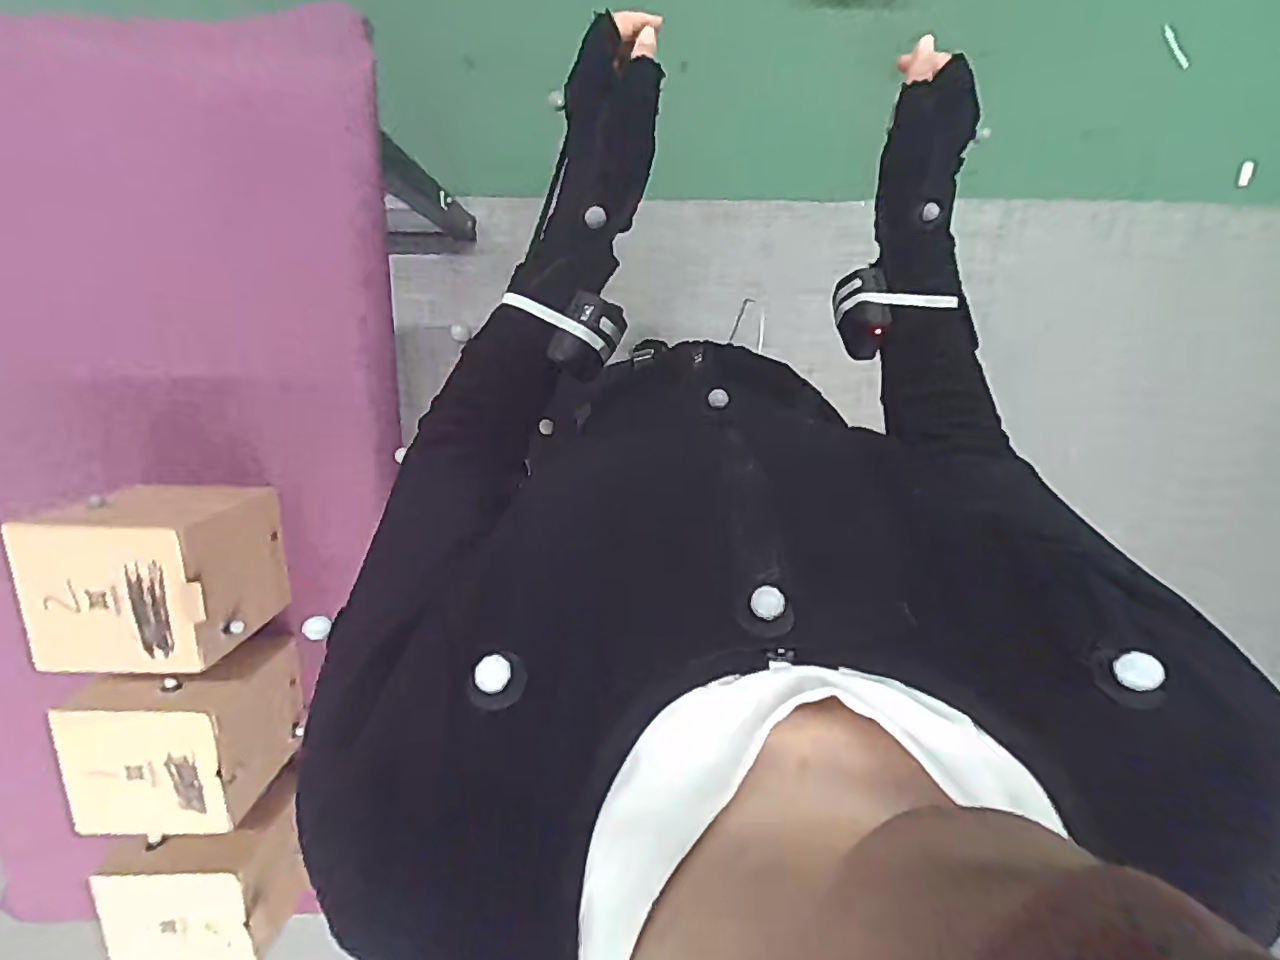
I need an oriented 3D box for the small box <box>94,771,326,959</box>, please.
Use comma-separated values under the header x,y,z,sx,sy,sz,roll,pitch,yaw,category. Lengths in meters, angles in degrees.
x,y,z,sx,sy,sz,roll,pitch,yaw,category
-0.569,0.527,0.741,0.179,0.176,0.168,0,103,-3,small box
